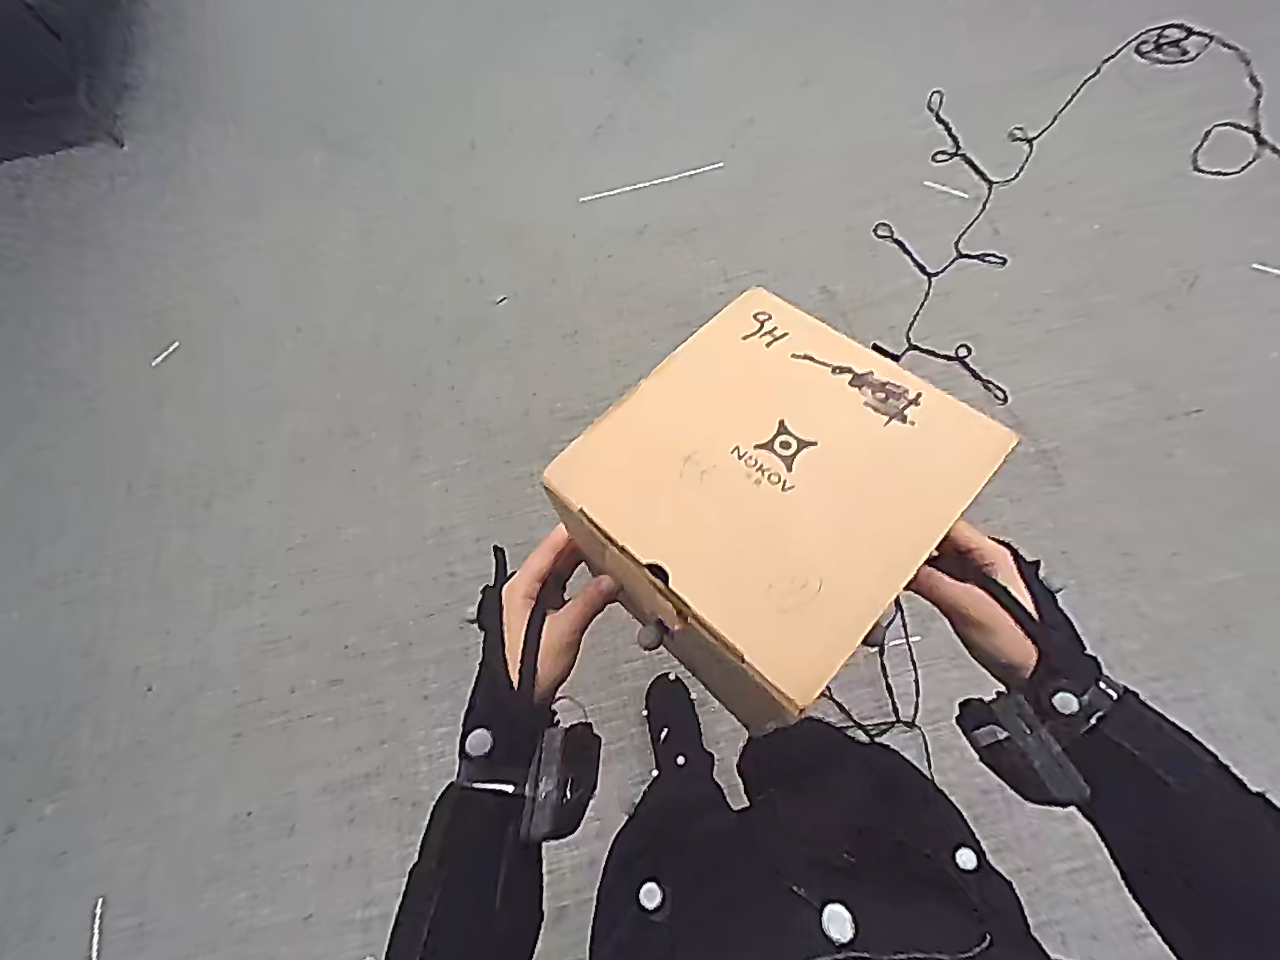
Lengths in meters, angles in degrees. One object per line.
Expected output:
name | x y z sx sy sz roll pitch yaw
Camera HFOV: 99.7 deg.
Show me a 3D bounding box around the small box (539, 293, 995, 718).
small box | 0.071 0.026 0.346 0.168 0.176 0.179 40 73 23
